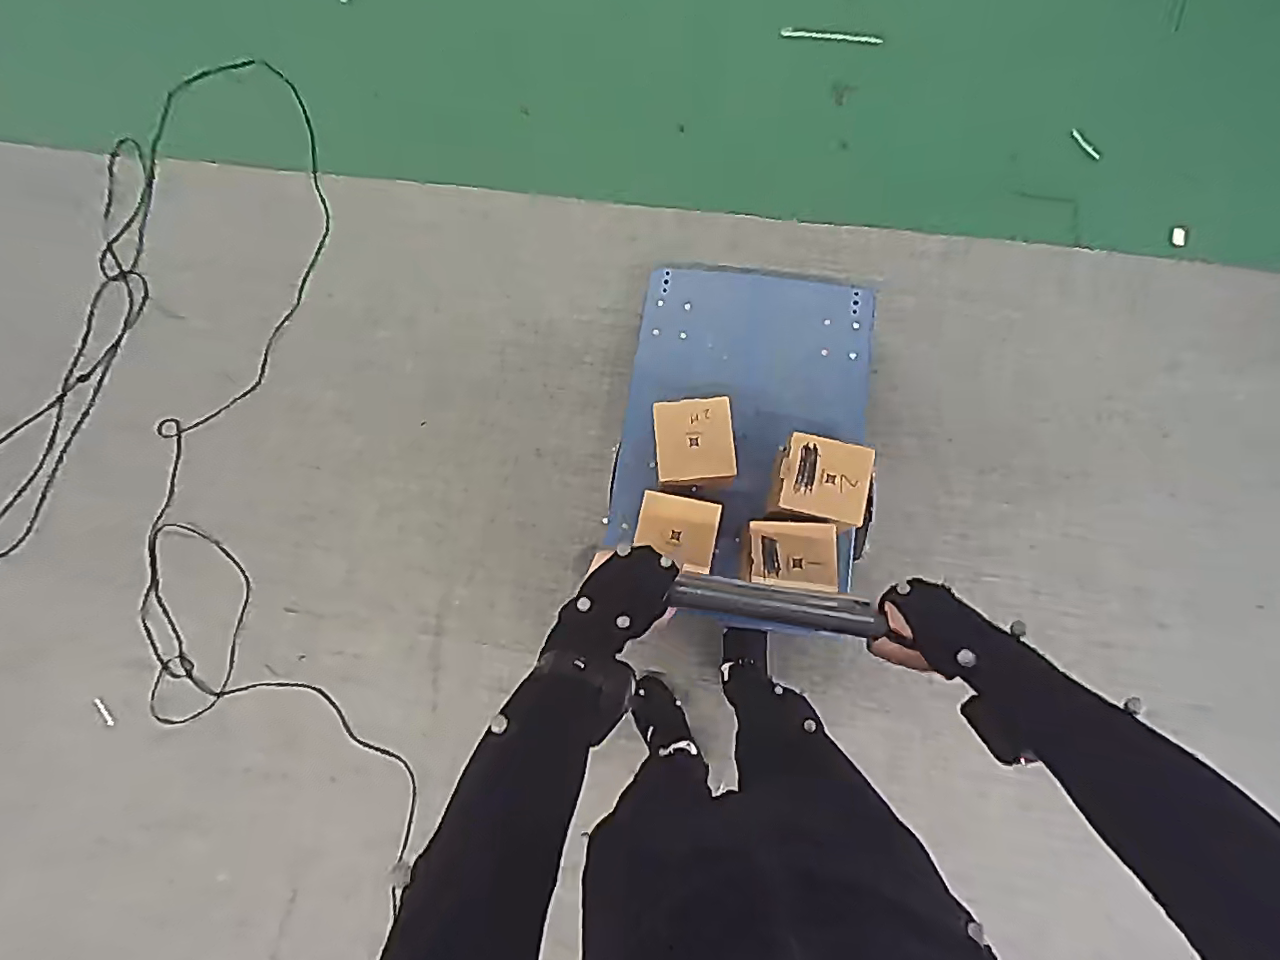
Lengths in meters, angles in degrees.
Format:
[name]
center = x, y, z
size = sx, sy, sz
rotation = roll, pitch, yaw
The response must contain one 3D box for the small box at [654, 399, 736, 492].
[small box]
center = 0.121, -0.070, 1.224
size = 0.168, 0.176, 0.179
rotation = -4, 79, 2
